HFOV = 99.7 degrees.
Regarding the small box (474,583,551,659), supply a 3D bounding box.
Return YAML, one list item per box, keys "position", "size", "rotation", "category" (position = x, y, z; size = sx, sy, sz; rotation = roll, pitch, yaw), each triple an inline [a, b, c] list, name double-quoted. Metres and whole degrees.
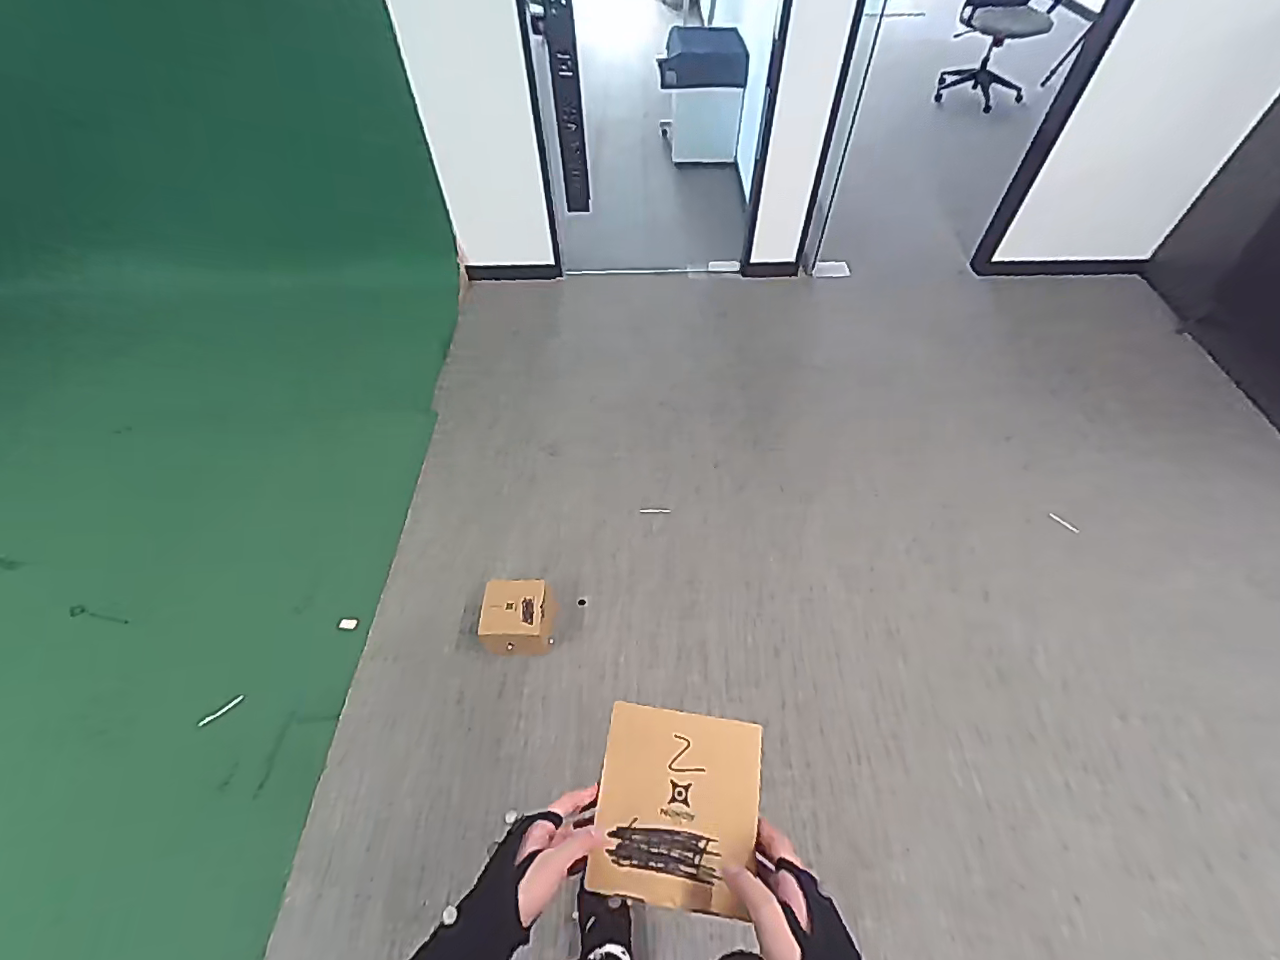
- position: [-0.361, 0.411, 1.573]
  size: [0.179, 0.176, 0.168]
  rotation: [0, 52, 1]
  category: "small box"
